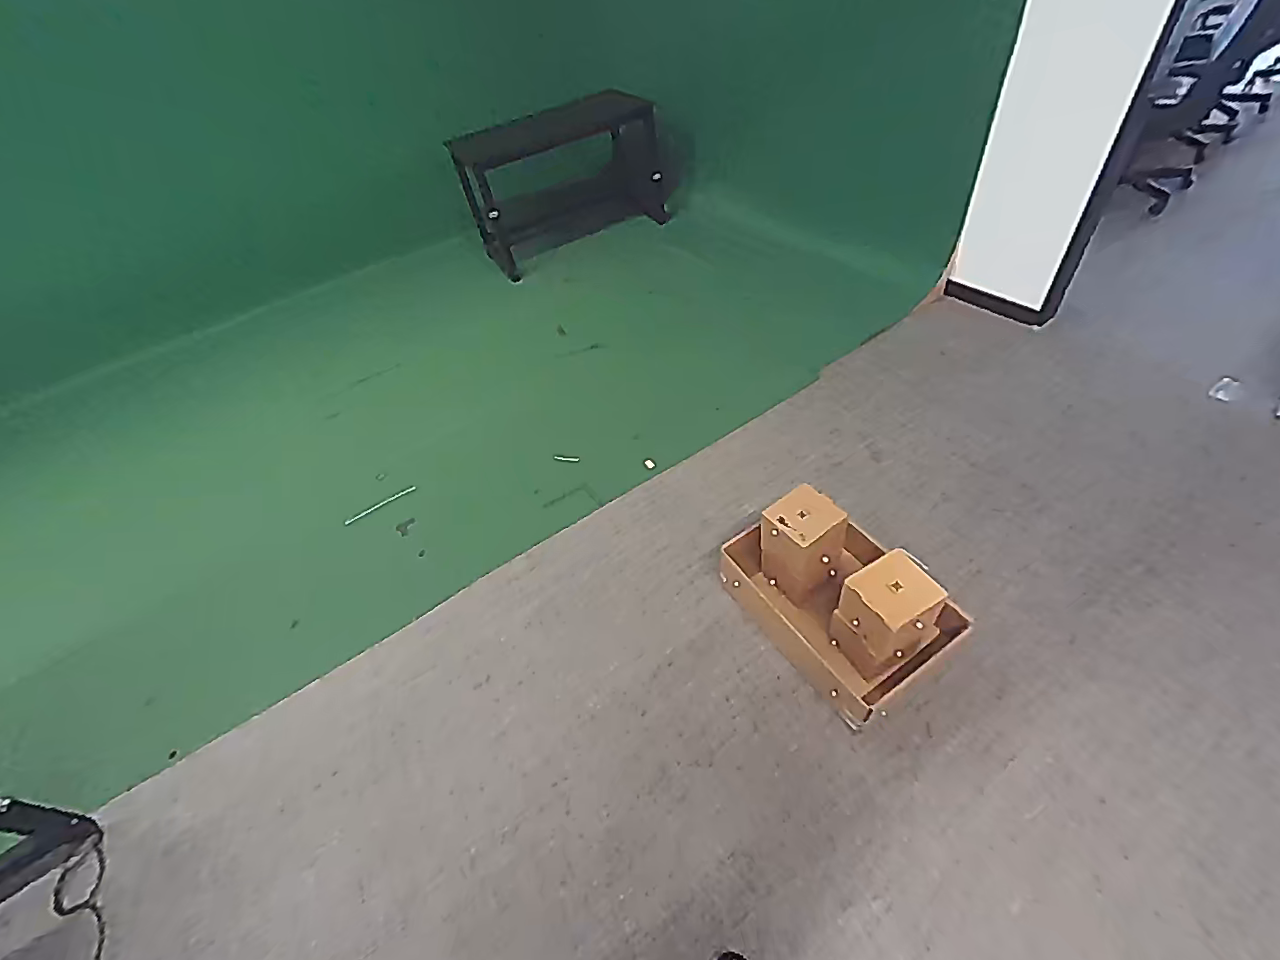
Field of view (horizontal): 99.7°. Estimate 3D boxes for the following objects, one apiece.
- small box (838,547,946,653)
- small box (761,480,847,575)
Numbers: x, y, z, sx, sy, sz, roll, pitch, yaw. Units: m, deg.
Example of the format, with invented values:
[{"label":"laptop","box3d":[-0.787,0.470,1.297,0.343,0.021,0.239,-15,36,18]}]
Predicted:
[{"label":"small box","box3d":[0.635,0.310,1.387,0.179,0.176,0.168,-27,50,-12]},{"label":"small box","box3d":[0.467,0.140,1.568,0.179,0.176,0.168,-31,49,-17]}]
